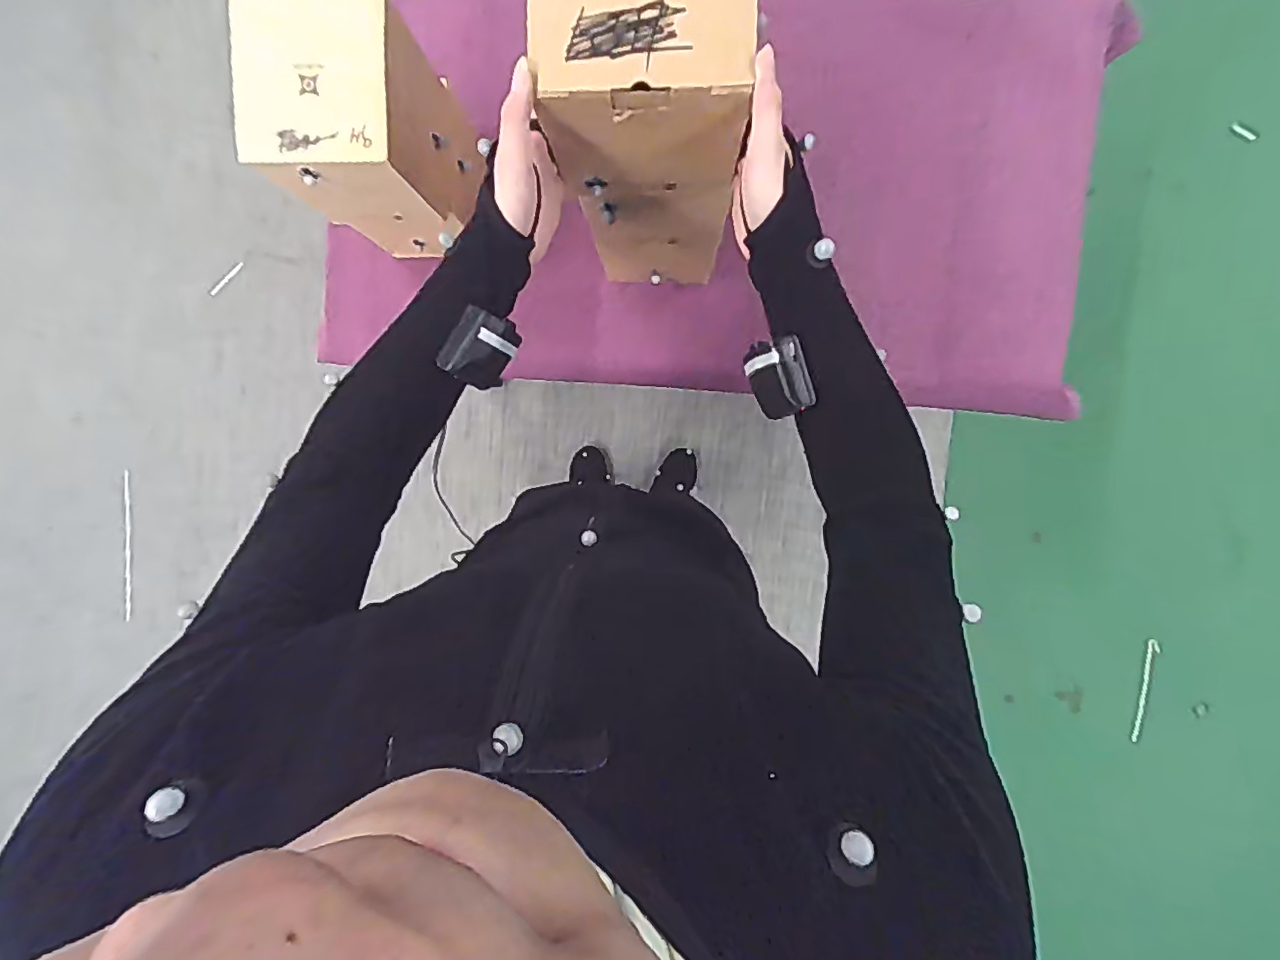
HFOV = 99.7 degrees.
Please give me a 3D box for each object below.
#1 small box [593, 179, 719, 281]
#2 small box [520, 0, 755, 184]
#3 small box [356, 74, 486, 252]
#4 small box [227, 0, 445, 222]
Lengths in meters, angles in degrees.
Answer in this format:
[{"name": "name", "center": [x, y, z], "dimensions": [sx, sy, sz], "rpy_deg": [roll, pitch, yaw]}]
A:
[{"name": "small box", "center": [0.026, -0.406, 0.788], "dimensions": [0.168, 0.176, 0.179], "rpy_deg": [2, 94, 3]}, {"name": "small box", "center": [0.003, -0.369, 0.450], "dimensions": [0.168, 0.176, 0.179], "rpy_deg": [1, 93, 3]}, {"name": "small box", "center": [-0.335, -0.456, 0.801], "dimensions": [0.168, 0.176, 0.179], "rpy_deg": [-1, 95, 2]}, {"name": "small box", "center": [-0.343, -0.430, 0.639], "dimensions": [0.168, 0.176, 0.179], "rpy_deg": [1, 94, 2]}]
